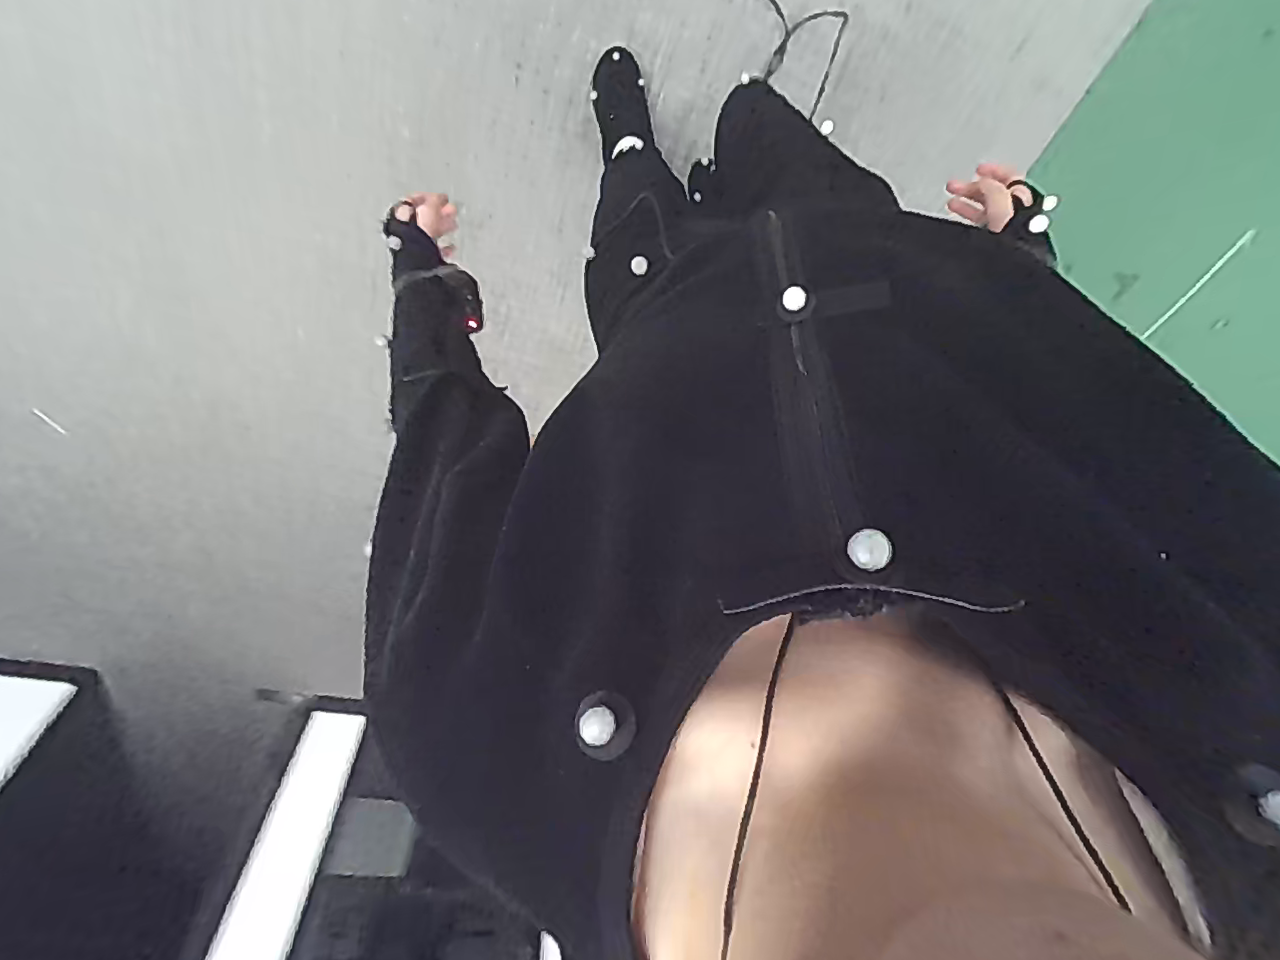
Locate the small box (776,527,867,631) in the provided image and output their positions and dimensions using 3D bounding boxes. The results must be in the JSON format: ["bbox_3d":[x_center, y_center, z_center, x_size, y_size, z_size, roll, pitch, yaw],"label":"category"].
[{"bbox_3d":[0.432,0.240,1.315,0.168,0.176,0.179,-9,129,4],"label":"small box"}]
